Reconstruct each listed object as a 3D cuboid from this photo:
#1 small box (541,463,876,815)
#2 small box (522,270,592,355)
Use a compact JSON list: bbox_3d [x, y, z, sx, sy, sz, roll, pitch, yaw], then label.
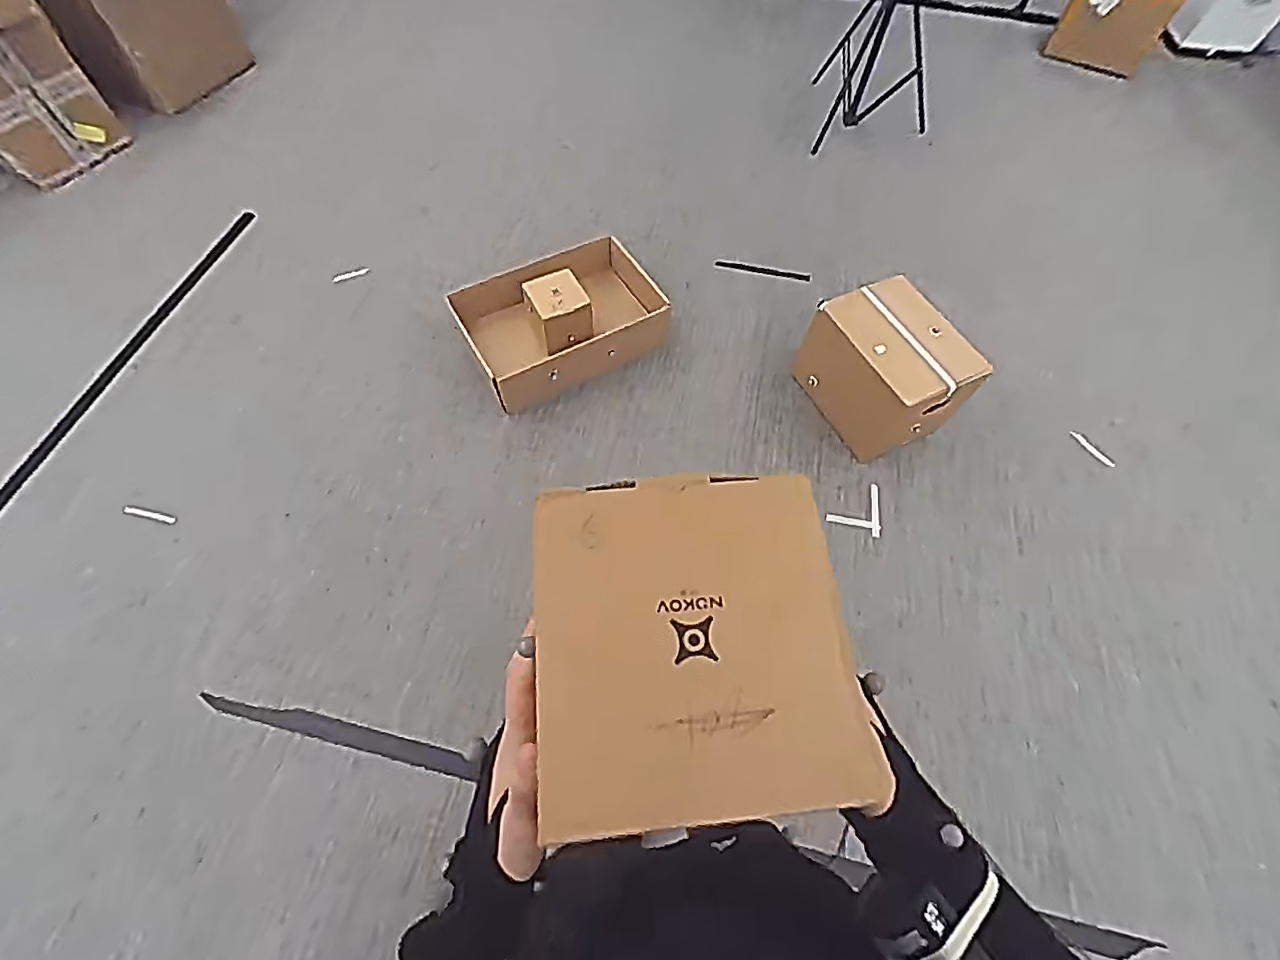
[{"bbox_3d":[0.023,0.104,0.364,0.168,0.176,0.179,-4,68,-5],"label":"small box"},{"bbox_3d":[-0.266,-0.543,1.759,0.168,0.176,0.179,-25,66,-14],"label":"small box"}]
